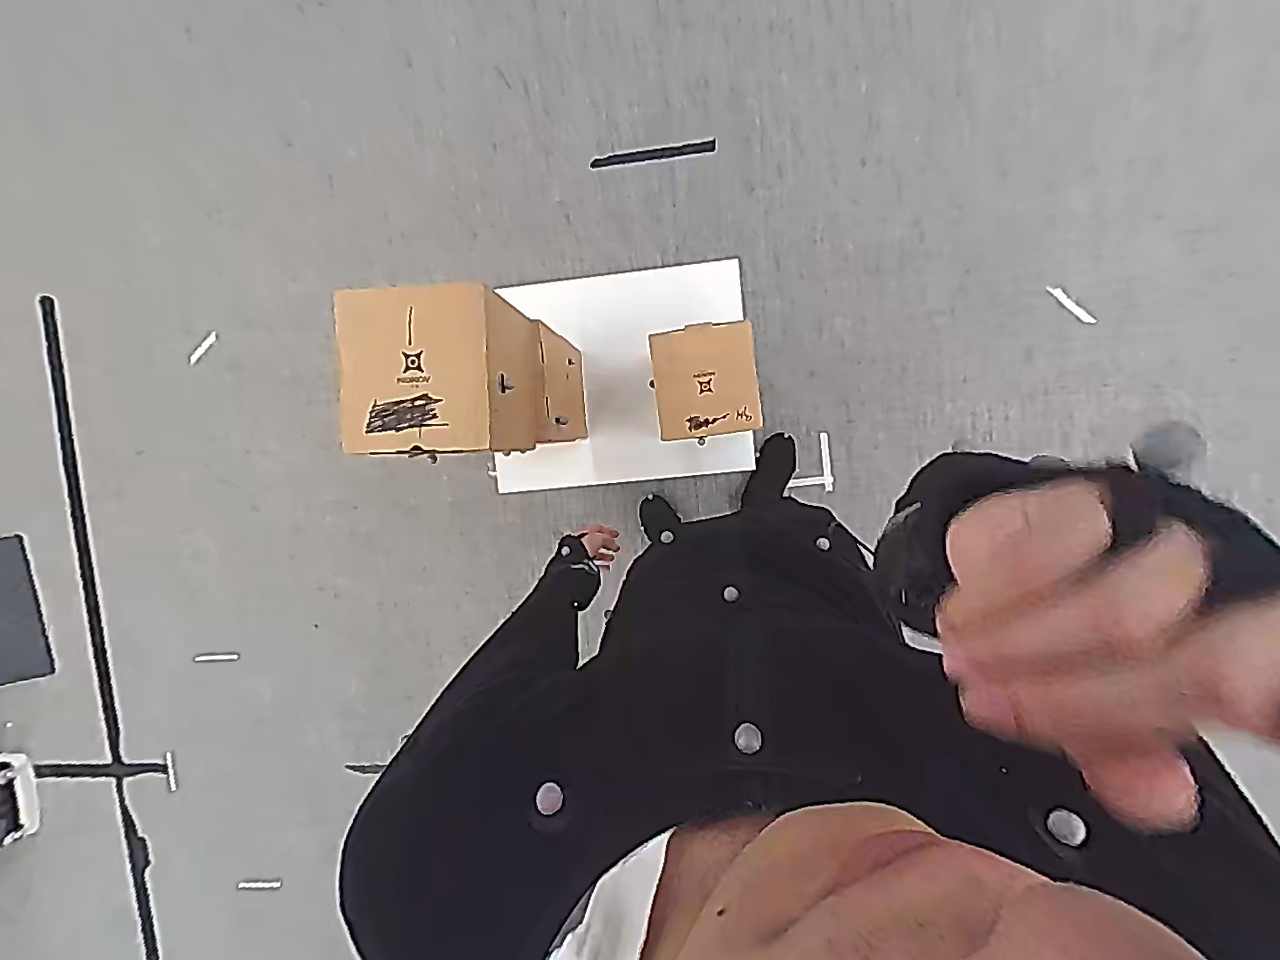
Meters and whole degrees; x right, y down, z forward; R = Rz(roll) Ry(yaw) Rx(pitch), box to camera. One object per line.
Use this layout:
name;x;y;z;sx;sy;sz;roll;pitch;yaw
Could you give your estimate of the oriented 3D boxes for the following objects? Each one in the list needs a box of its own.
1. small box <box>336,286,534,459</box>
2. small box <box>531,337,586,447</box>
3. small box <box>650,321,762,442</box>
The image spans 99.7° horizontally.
small box;-0.229;-0.117;0.645;0.168;0.176;0.179;-1;93;5
small box;-0.195;-0.148;0.971;0.168;0.176;0.179;-4;94;4
small box;0.112;-0.162;0.943;0.168;0.176;0.179;-7;93;7
